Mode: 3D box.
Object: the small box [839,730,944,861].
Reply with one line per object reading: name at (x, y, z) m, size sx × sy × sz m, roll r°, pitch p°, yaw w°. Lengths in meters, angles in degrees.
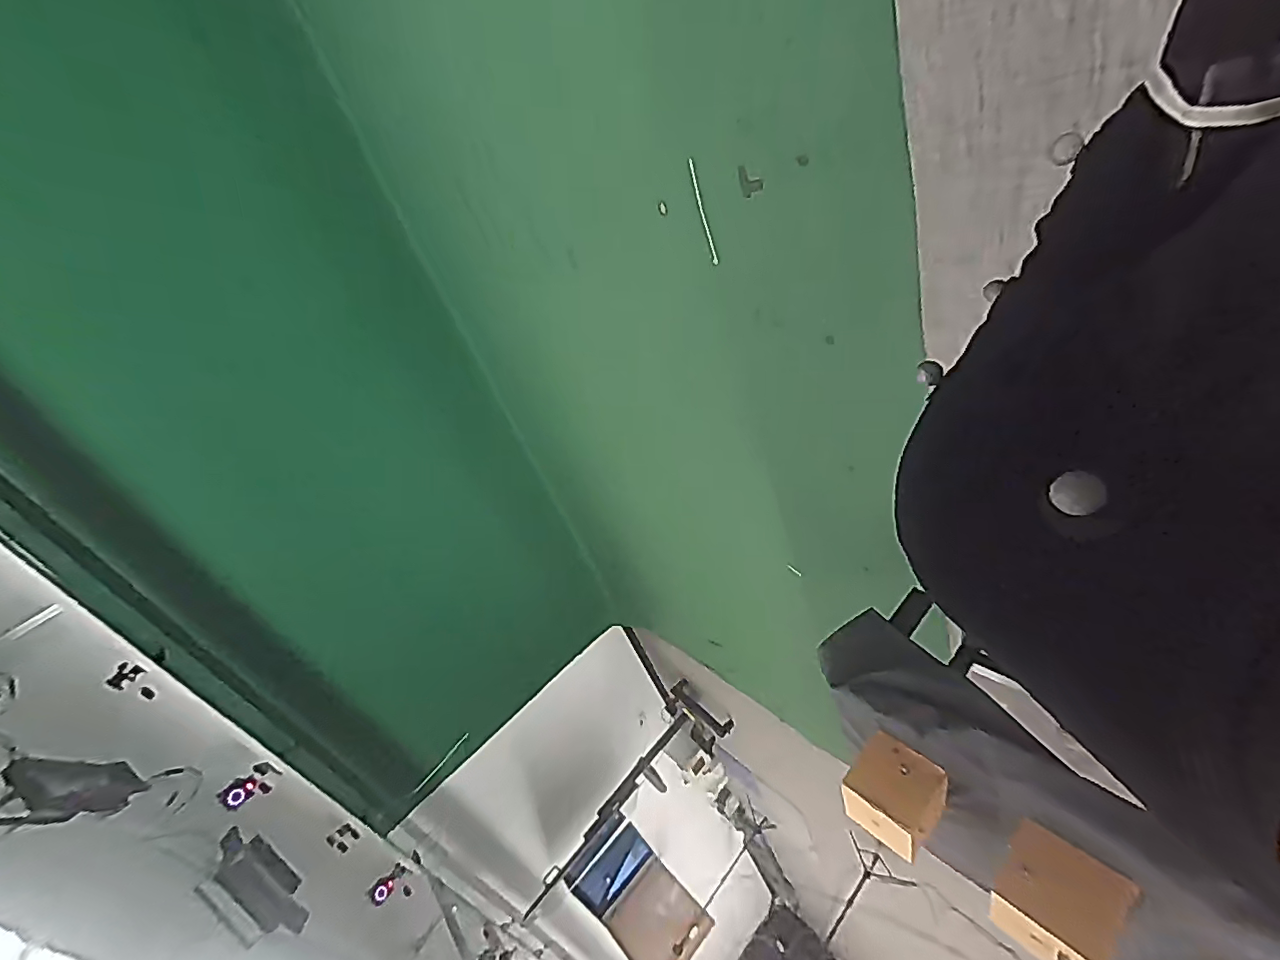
small box at (0.594, 0.735, 1.270) m, size 0.168 × 0.176 × 0.179 m, roll 23°, pitch 143°, yaw 45°
